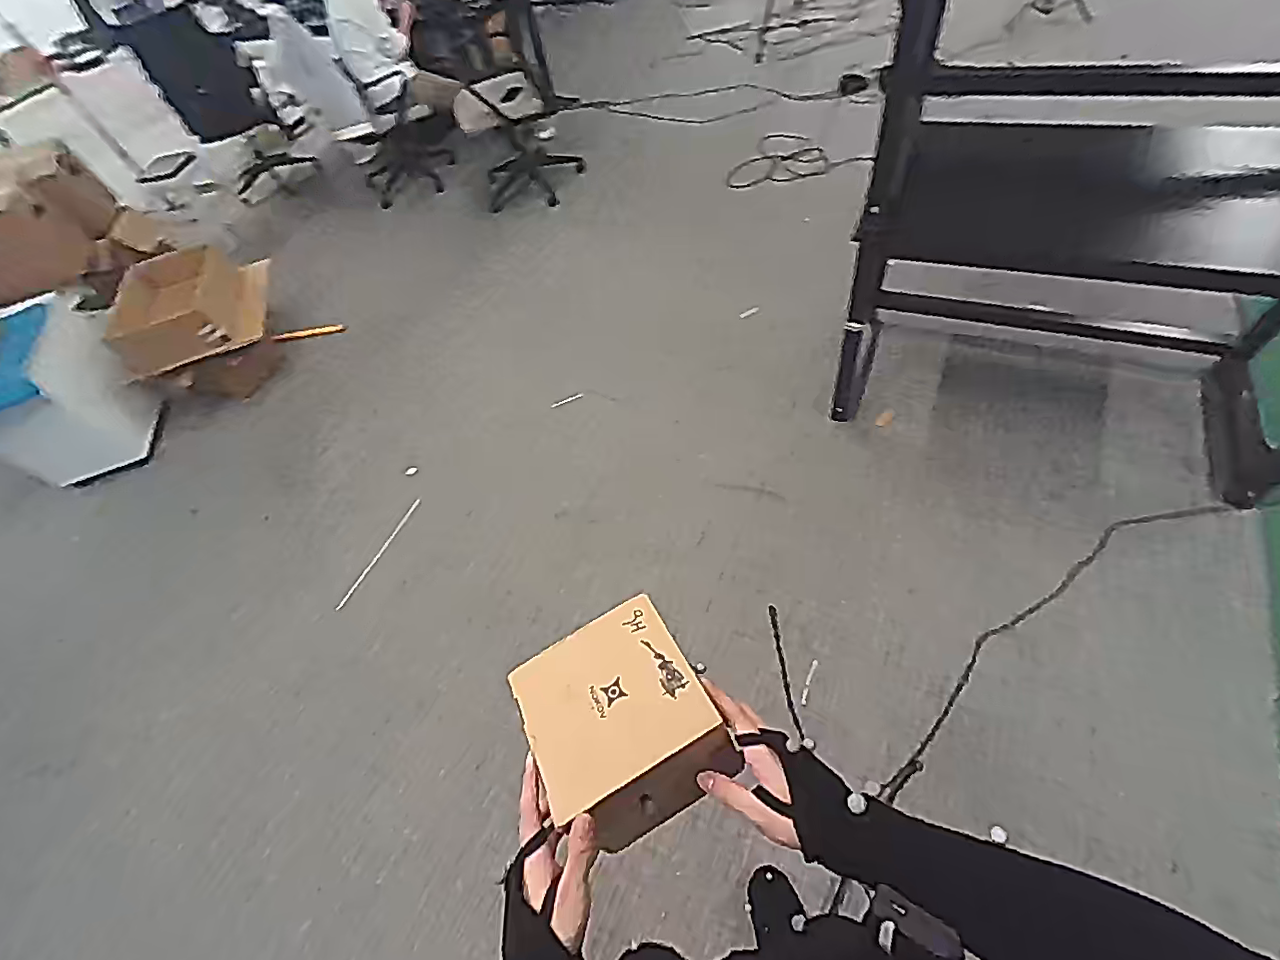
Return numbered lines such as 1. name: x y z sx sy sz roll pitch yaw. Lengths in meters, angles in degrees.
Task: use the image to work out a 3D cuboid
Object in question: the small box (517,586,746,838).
1. small box: -0.005 0.258 0.594 0.179 0.176 0.168 -30 47 -6
